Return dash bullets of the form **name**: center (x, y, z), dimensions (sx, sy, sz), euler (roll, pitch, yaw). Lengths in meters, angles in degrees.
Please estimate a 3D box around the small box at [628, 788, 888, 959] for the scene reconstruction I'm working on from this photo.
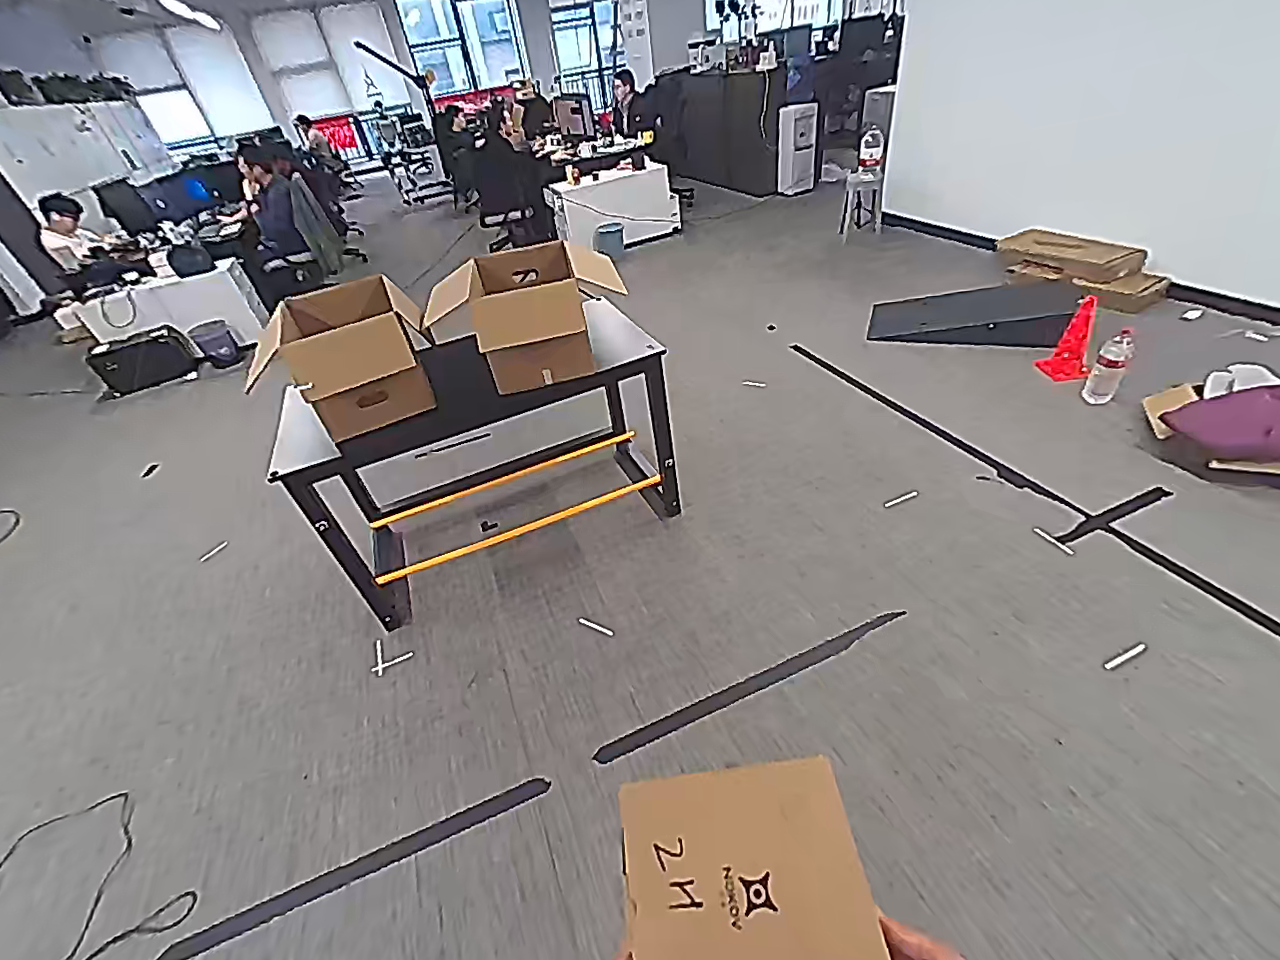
- **small box**: center (0.090, 0.374, 0.450), dimensions (0.179, 0.176, 0.168), euler (-9, 48, 1)
